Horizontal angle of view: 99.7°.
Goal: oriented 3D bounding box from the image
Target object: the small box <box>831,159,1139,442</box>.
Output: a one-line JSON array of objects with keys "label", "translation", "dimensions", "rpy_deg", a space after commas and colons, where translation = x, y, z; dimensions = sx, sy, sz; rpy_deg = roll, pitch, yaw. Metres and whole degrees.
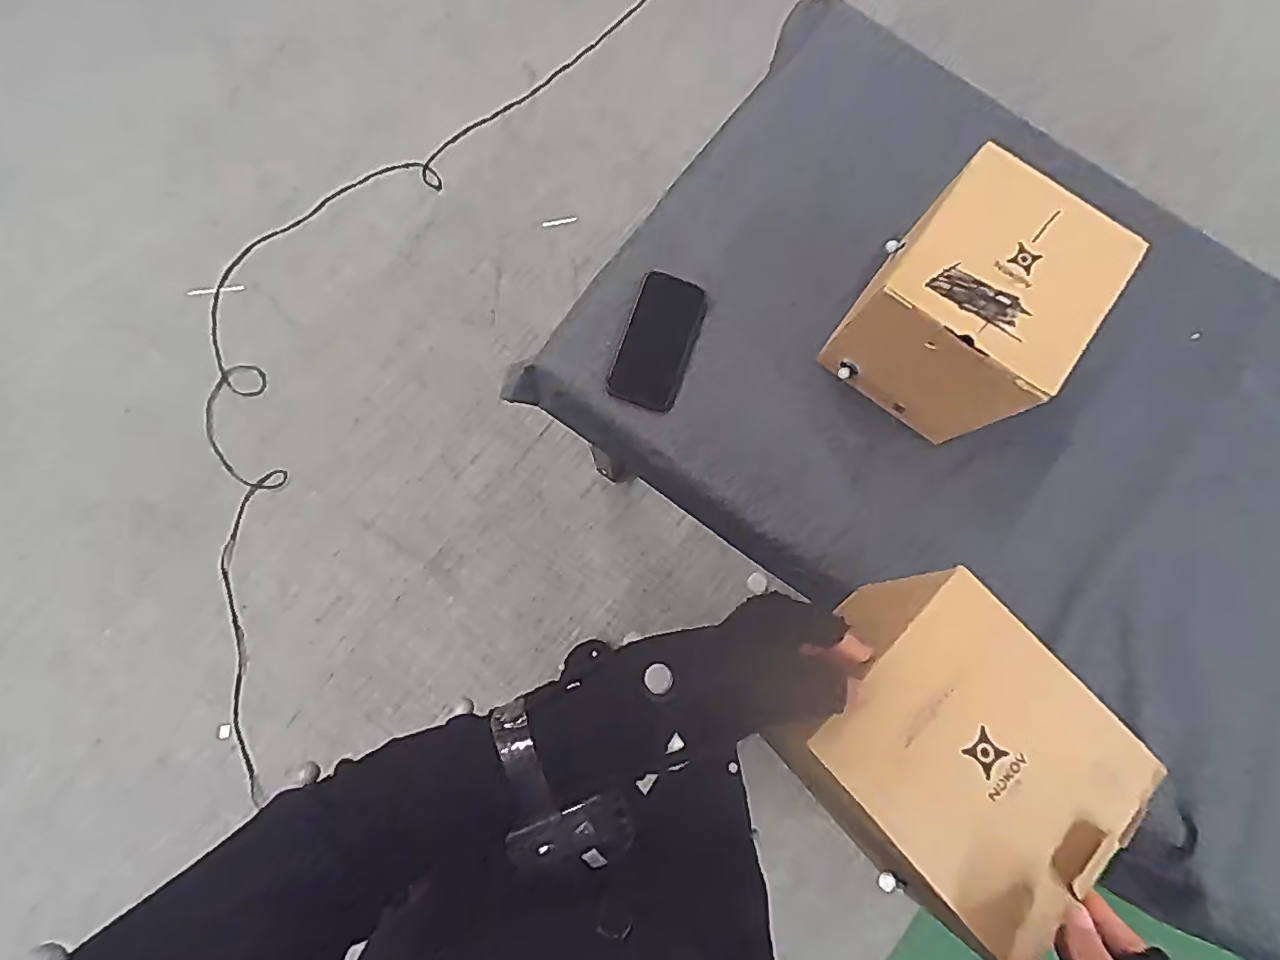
[{"label": "small box", "translation": [0.320, -0.162, 0.546], "dimensions": [0.168, 0.176, 0.179], "rpy_deg": [37, 81, 4]}]

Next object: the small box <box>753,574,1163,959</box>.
[{"label": "small box", "translation": [0.219, 0.198, 0.422], "dimensions": [0.168, 0.176, 0.179], "rpy_deg": [-41, 80, -16]}]
